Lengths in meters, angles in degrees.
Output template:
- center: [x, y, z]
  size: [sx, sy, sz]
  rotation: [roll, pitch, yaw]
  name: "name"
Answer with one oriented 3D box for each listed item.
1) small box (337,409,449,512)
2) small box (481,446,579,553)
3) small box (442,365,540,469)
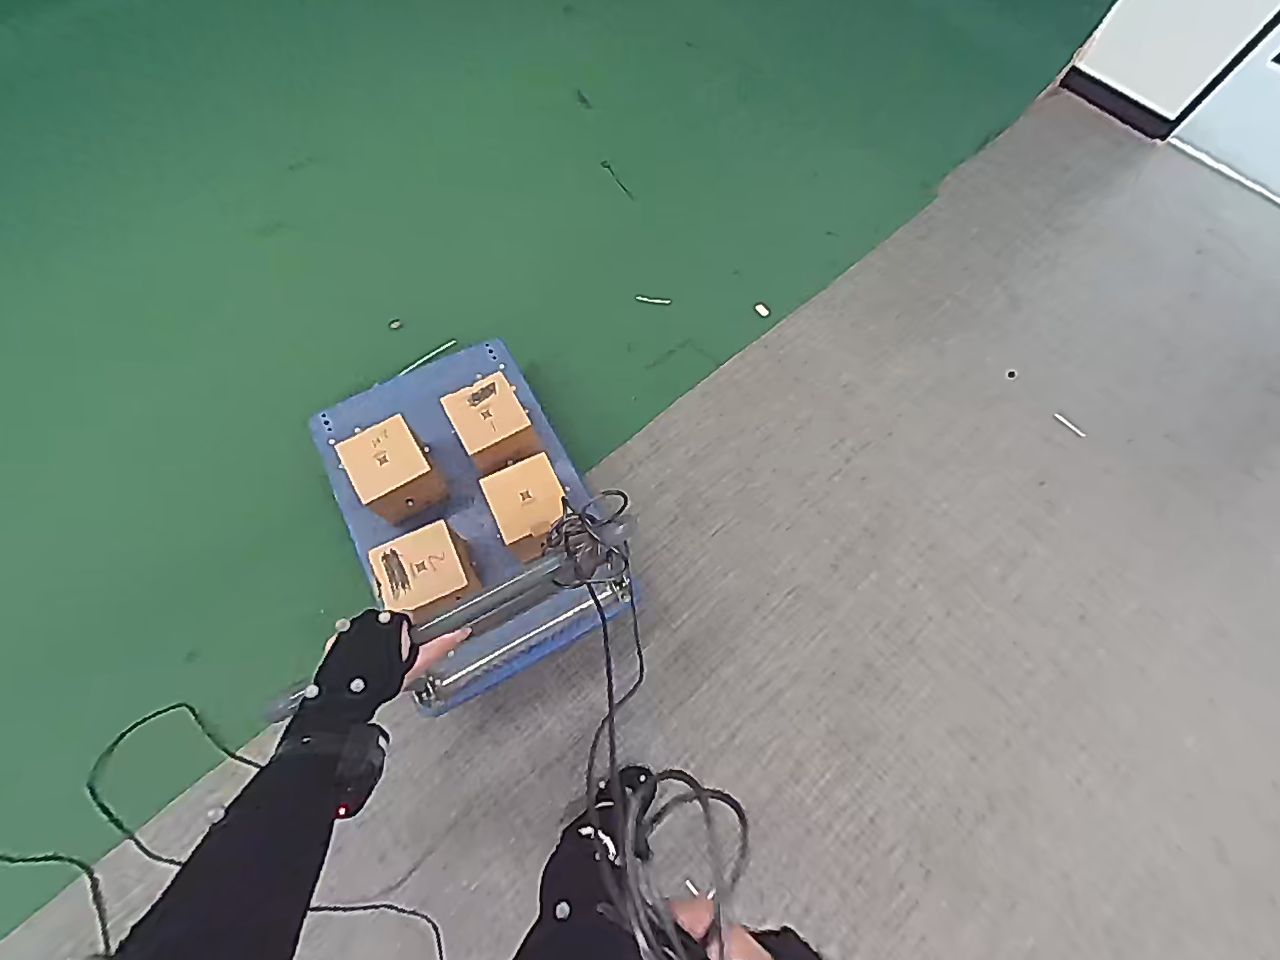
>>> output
- center: [-0.597, -0.037, 1.327]
  size: [0.168, 0.176, 0.179]
  rotation: [-30, 73, -12]
  name: "small box"
- center: [-0.258, 0.052, 1.301]
  size: [0.168, 0.176, 0.179]
  rotation: [-25, 72, -10]
  name: "small box"
- center: [-0.372, -0.152, 1.374]
  size: [0.168, 0.176, 0.179]
  rotation: [-29, 73, -10]
  name: "small box"
